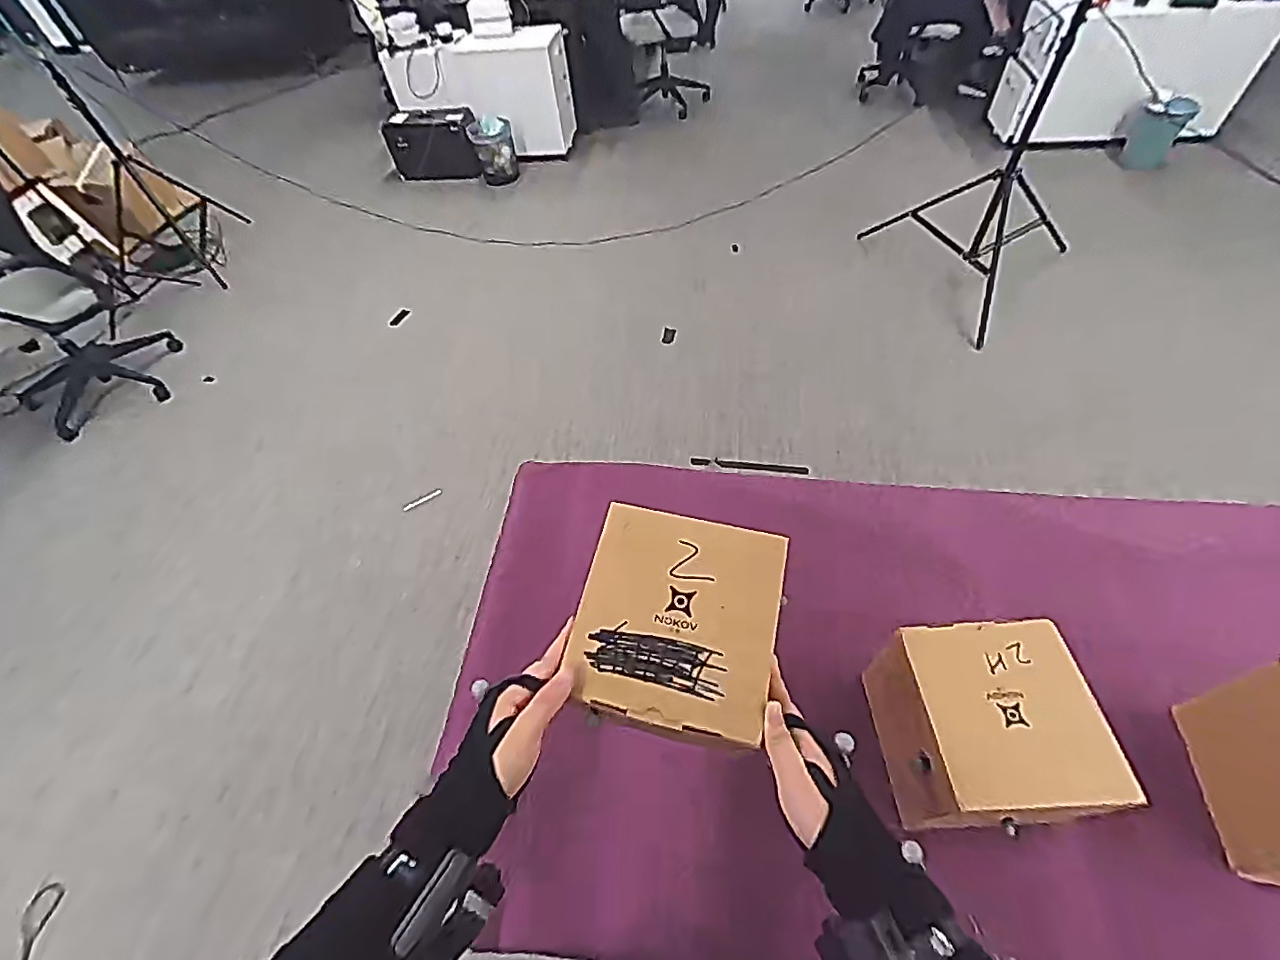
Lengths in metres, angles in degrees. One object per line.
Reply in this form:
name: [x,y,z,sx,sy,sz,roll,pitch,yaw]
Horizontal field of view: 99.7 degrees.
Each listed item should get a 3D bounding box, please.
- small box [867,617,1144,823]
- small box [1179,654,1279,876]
small box: [0.373,0.270,0.598,0.168,0.176,0.179,-4,52,2]
small box: [0.713,0.298,0.542,0.168,0.176,0.179,6,52,11]
